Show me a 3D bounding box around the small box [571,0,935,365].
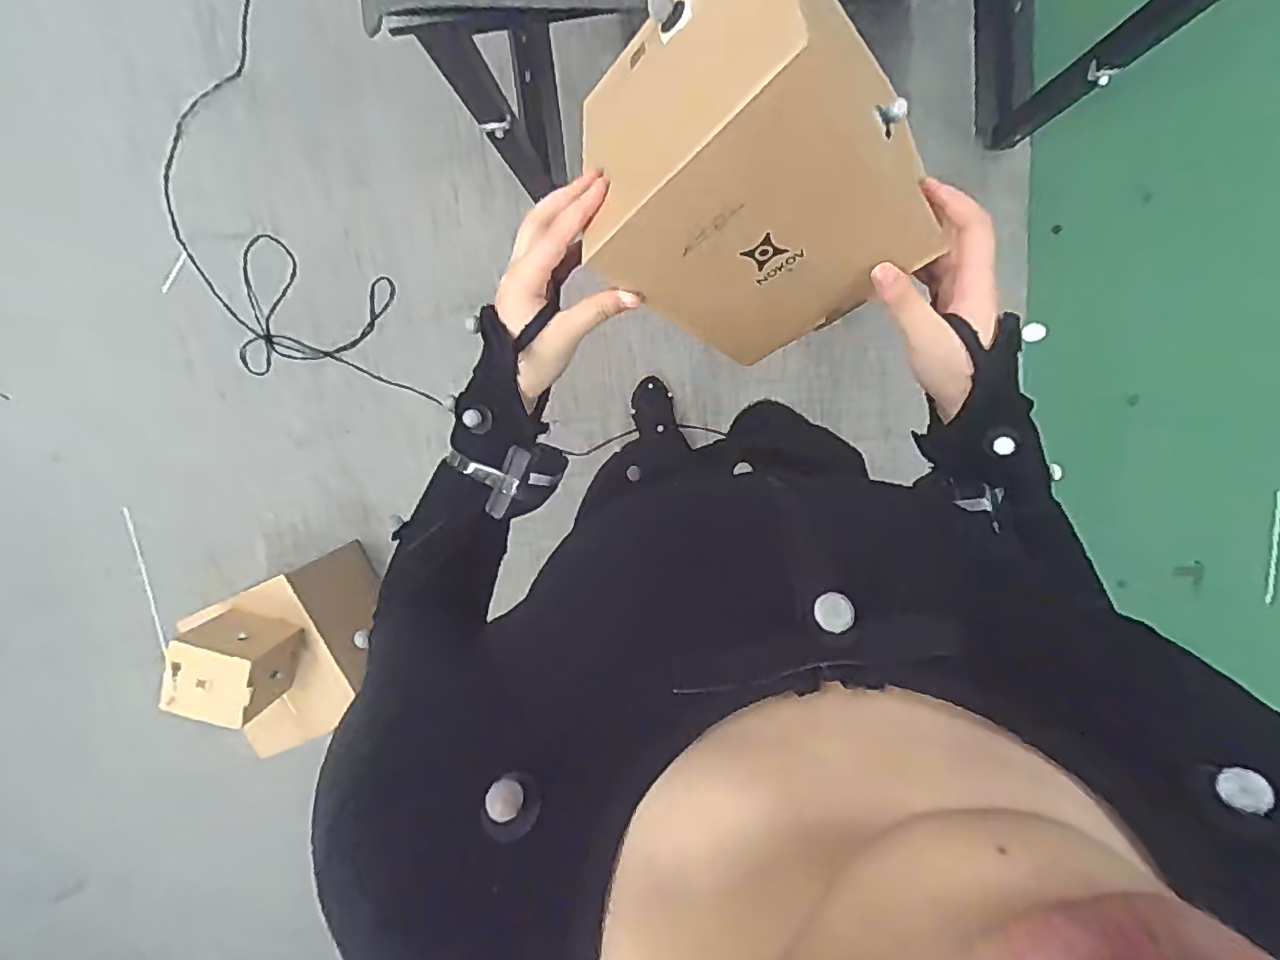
[{"bbox_3d":[0.070,-0.217,0.378,0.168,0.179,0.176,-28,54,41],"label":"small box"}]

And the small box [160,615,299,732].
[{"bbox_3d":[-0.897,0.419,1.197,0.179,0.176,0.168,16,99,-2],"label":"small box"}]
